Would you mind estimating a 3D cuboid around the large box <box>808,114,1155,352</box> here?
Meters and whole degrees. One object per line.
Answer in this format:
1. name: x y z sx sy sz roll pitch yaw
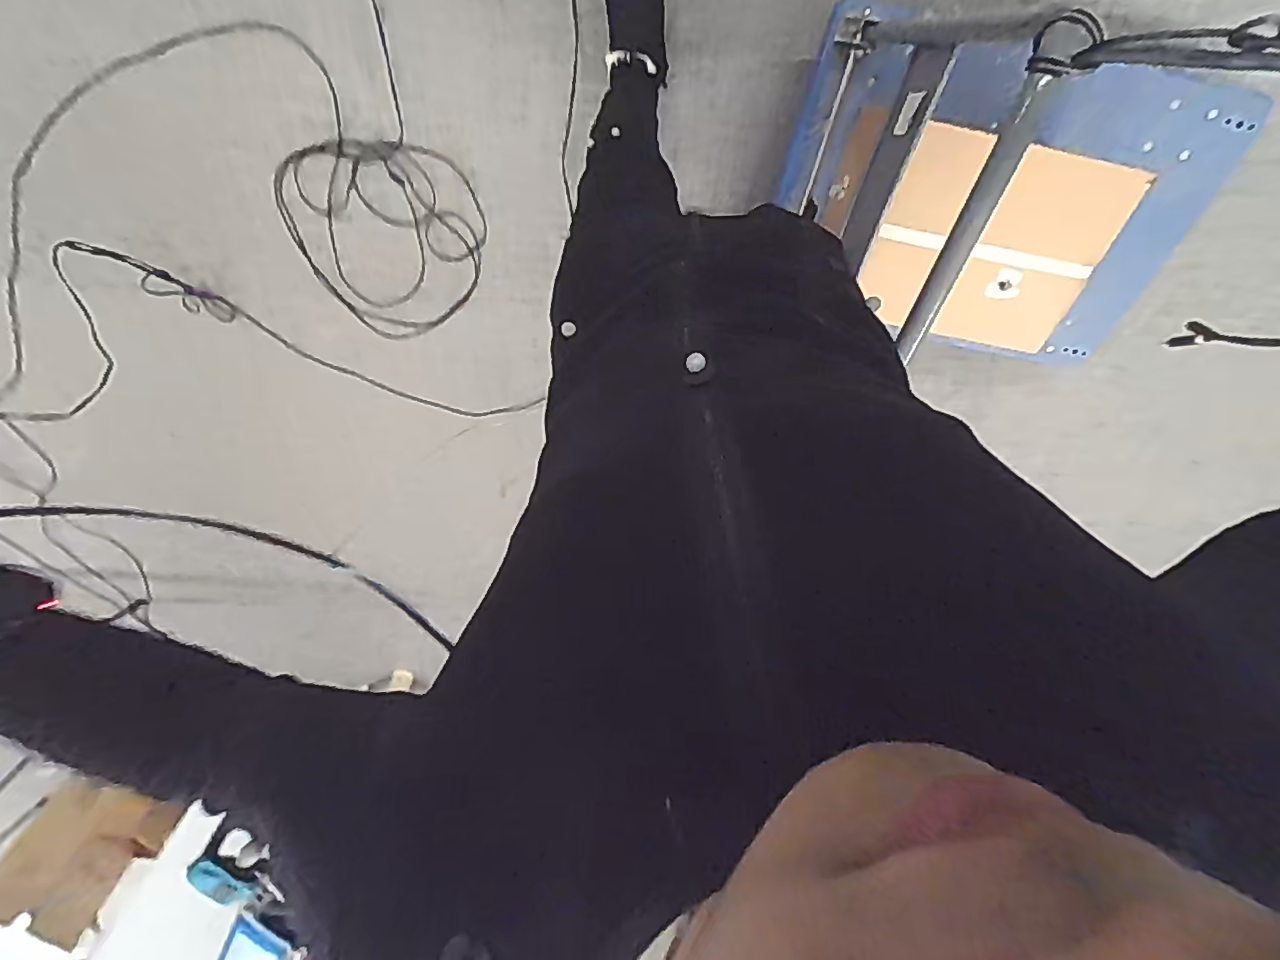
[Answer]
1. large box: 0.593 -0.481 1.040 0.408 0.320 0.320 10 128 -5
